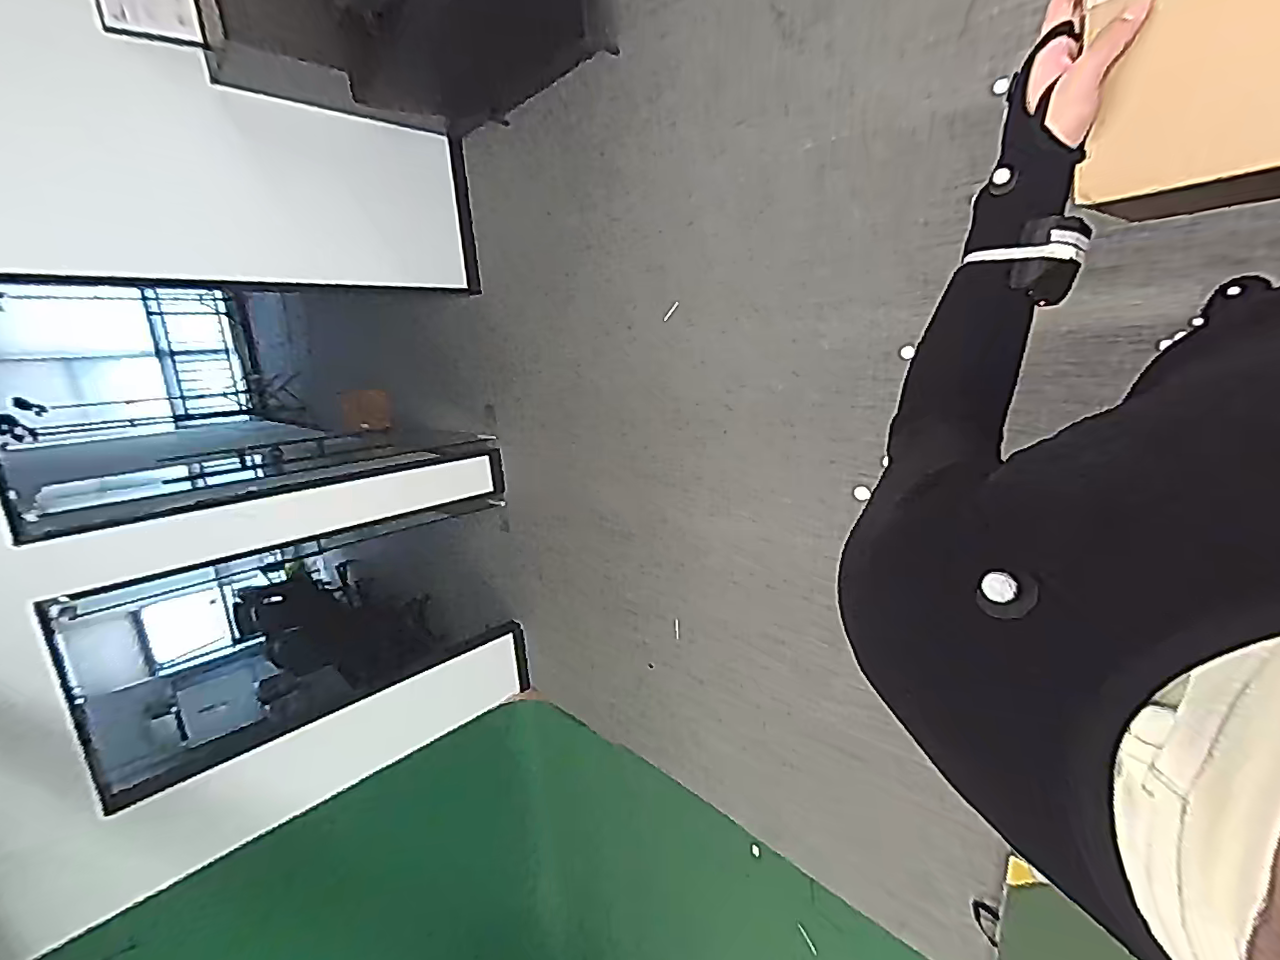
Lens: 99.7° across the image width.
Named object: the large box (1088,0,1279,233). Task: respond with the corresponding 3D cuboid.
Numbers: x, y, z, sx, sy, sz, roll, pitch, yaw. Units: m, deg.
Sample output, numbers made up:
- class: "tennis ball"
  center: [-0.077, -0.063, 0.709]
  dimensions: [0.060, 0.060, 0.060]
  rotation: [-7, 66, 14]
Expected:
- class: "large box"
  center: [0.614, -0.400, 0.395]
  dimensions: [0.408, 0.320, 0.320]
  rotation: [7, 110, 46]
